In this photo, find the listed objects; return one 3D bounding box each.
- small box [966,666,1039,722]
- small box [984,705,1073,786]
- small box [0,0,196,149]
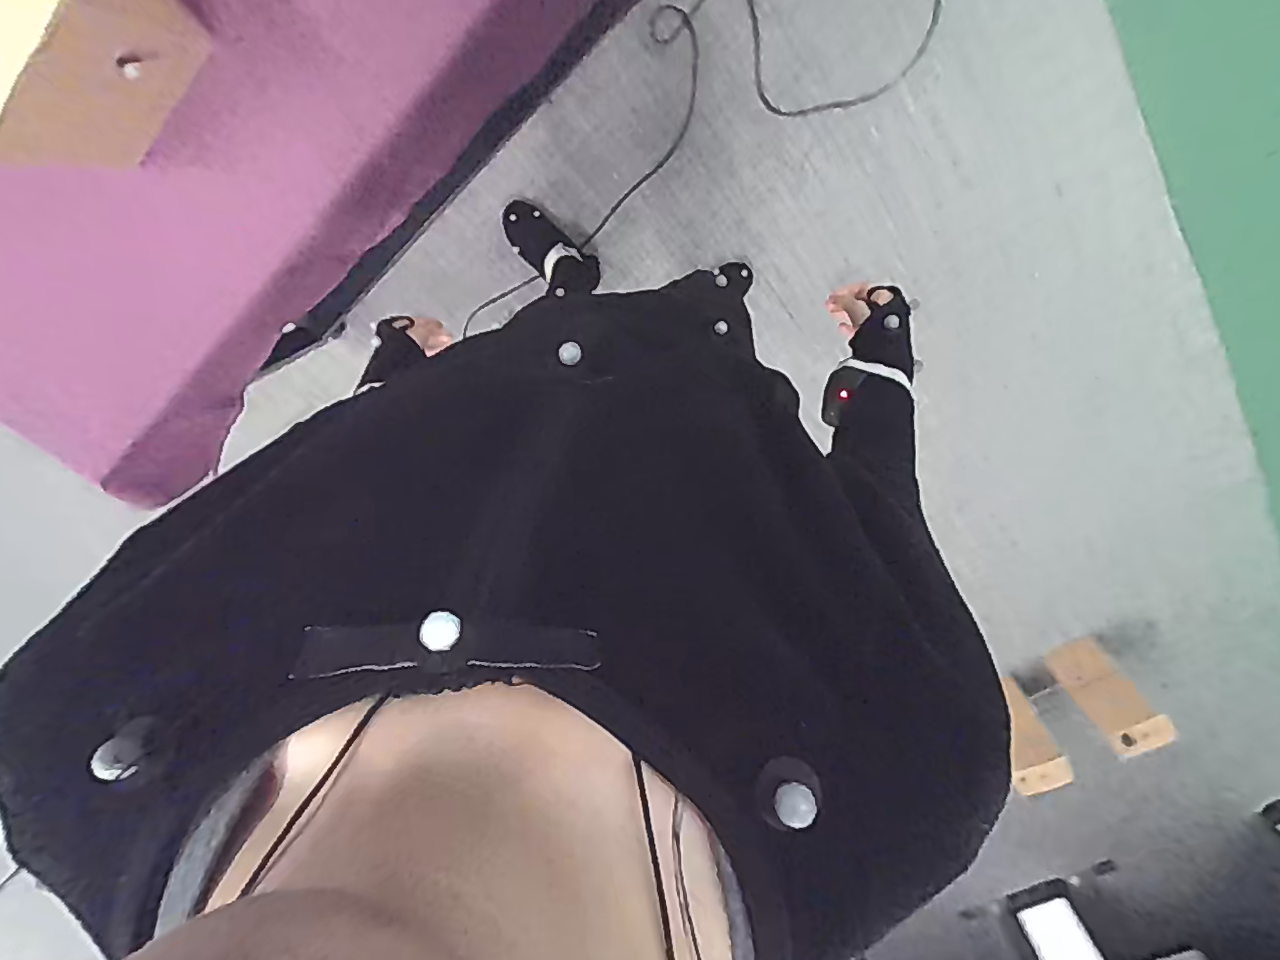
[{"bbox_3d":[1.363,0.836,2.027,0.168,0.176,0.179,-28,115,14],"label":"small box"},{"bbox_3d":[1.350,0.922,1.886,0.179,0.176,0.168,-29,115,13],"label":"small box"},{"bbox_3d":[-0.540,-0.418,0.461,0.179,0.176,0.168,-36,113,18],"label":"small box"}]
